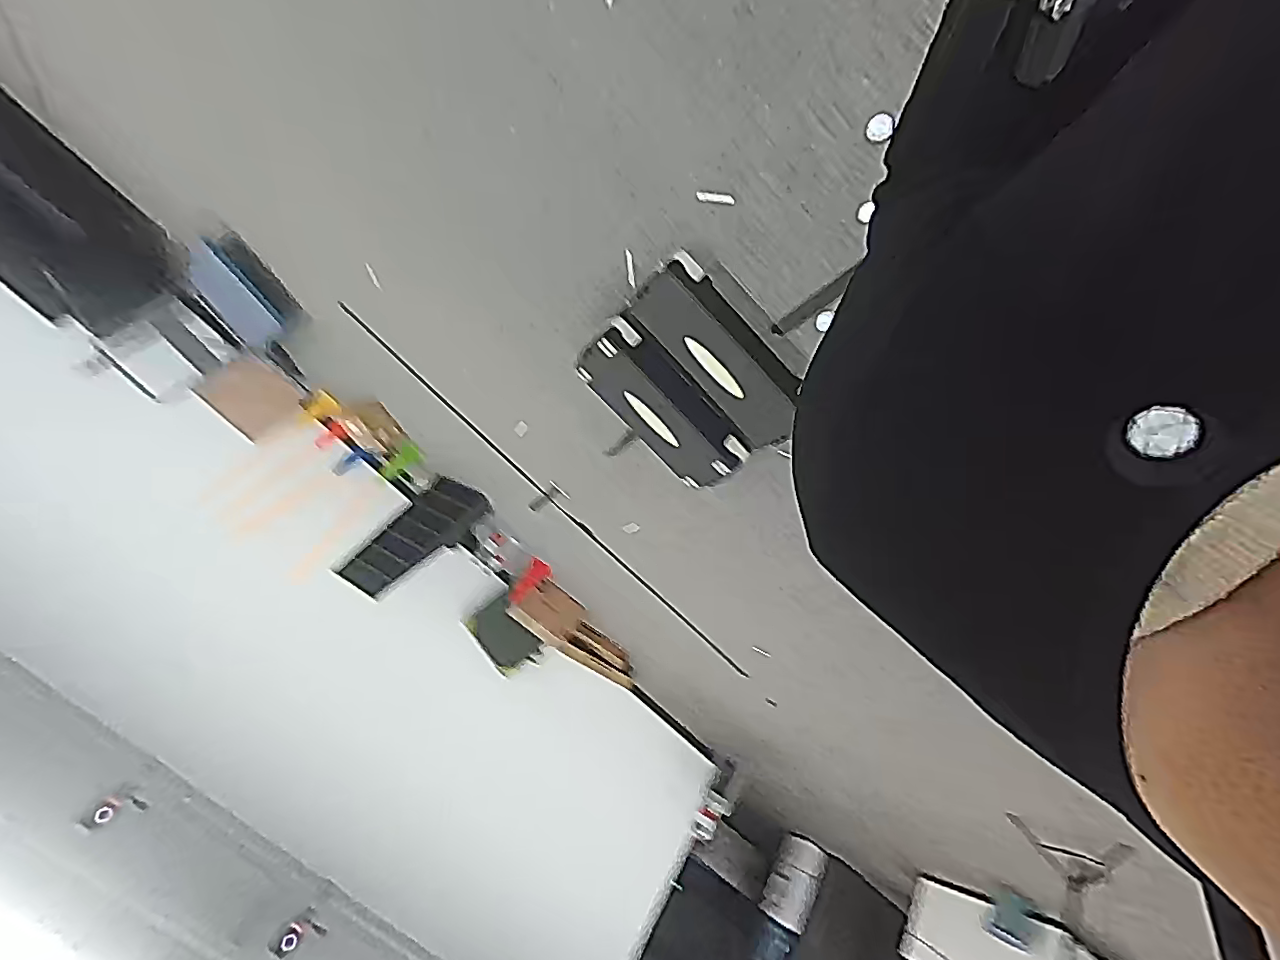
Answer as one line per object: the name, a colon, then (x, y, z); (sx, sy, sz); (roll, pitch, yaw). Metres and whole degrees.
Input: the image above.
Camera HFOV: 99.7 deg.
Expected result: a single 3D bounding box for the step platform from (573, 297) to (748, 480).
step platform: (0.074, -0.302, 1.953); (0.684, 0.204, 0.286); (48, 148, -14)
